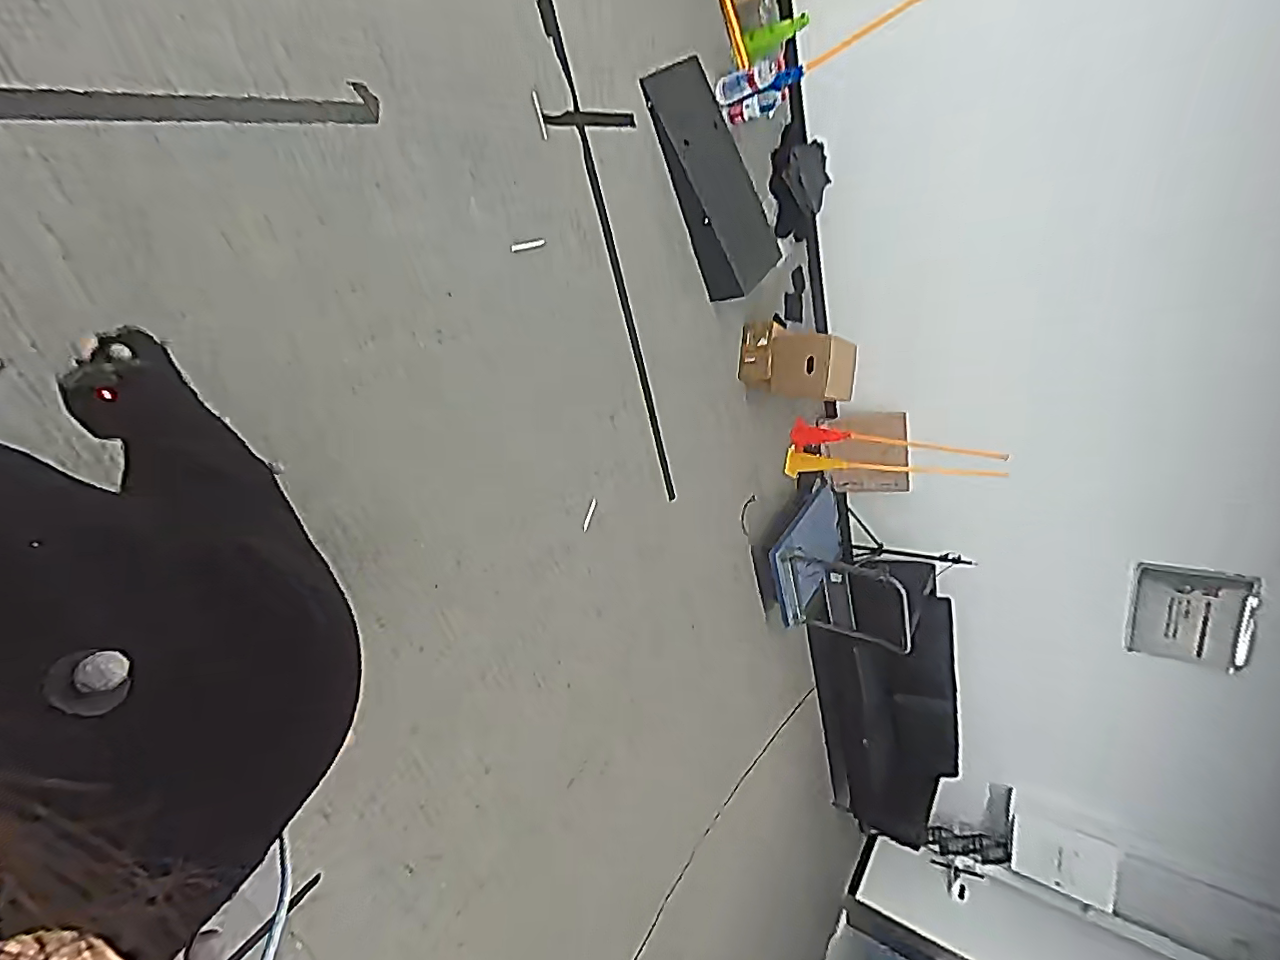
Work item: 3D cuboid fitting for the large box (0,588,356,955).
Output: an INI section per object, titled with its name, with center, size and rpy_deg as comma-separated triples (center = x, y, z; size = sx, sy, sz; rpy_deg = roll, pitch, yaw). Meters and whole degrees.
[large box]
center = -0.810, 0.449, 0.935
size = 0.408, 0.320, 0.320
rpy_deg = -41, 124, -42
